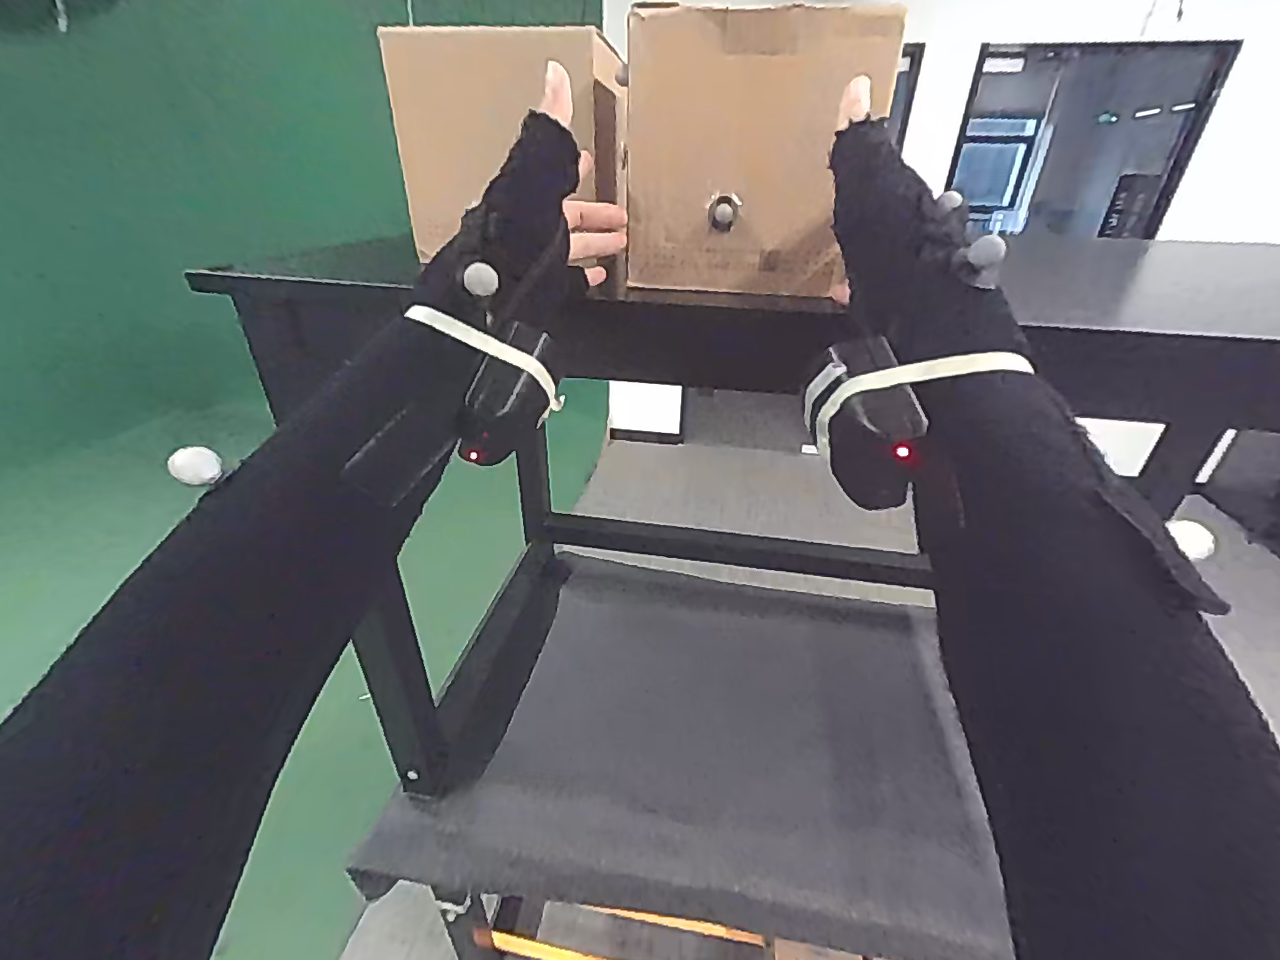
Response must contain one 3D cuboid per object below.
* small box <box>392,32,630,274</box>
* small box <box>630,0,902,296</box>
[{"bbox_3d":[-0.102,-0.300,0.514,0.168,0.176,0.179,3,30,5],"label":"small box"},{"bbox_3d":[0.084,-0.255,0.438,0.168,0.176,0.179,5,29,6],"label":"small box"}]
